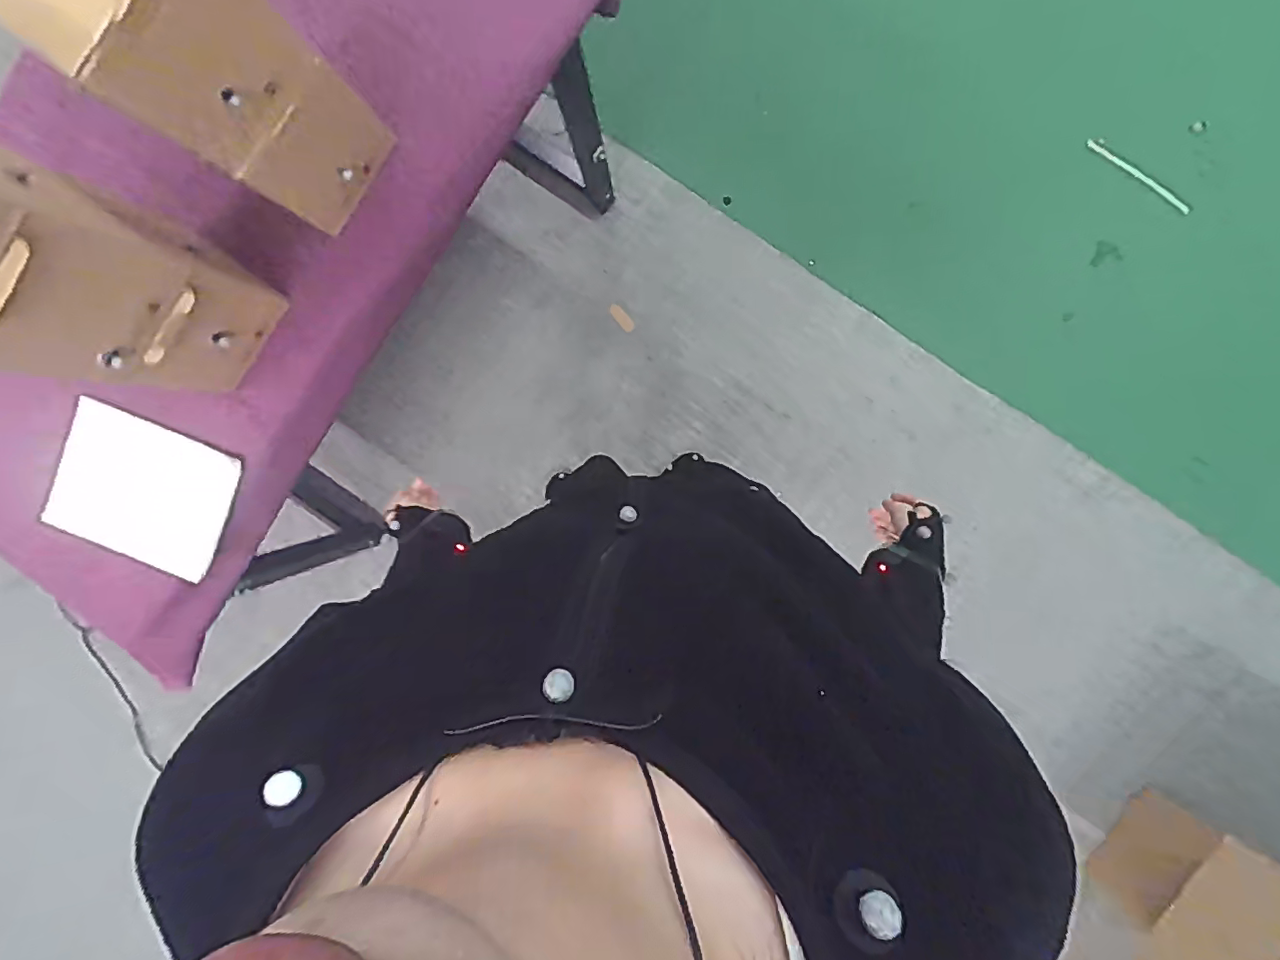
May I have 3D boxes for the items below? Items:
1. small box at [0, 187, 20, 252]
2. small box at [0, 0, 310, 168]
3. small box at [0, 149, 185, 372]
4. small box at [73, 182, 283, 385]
[{"bbox_3d":[-0.636,-0.214,0.388,0.179,0.176,0.168,37,94,1],"label":"small box"},{"bbox_3d":[-0.482,-0.453,0.529,0.179,0.176,0.168,36,94,1],"label":"small box"},{"bbox_3d":[-0.632,-0.226,0.550,0.179,0.176,0.168,36,95,1],"label":"small box"},{"bbox_3d":[-0.629,-0.240,0.715,0.179,0.176,0.168,36,94,-1],"label":"small box"}]
